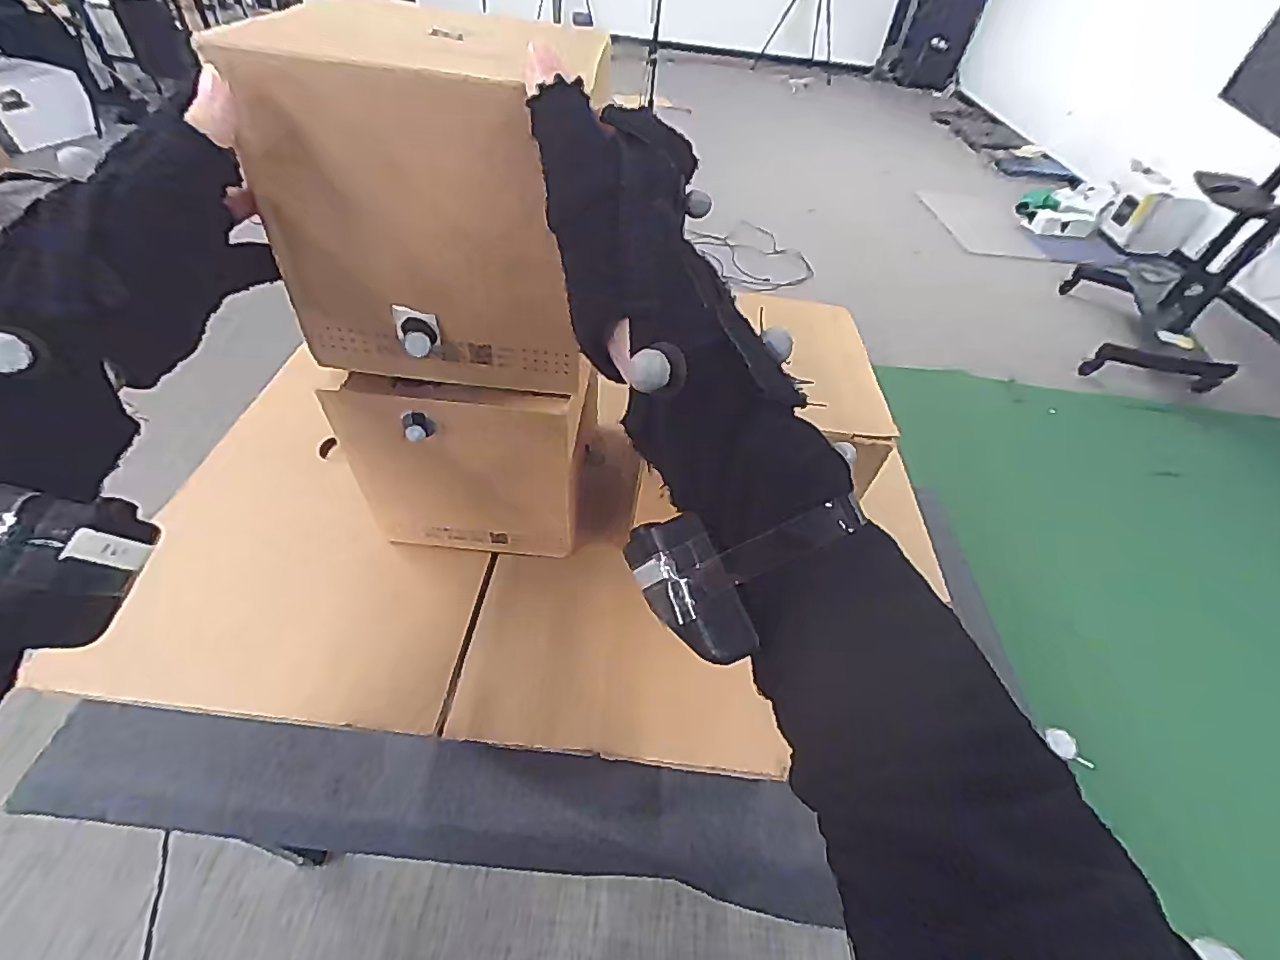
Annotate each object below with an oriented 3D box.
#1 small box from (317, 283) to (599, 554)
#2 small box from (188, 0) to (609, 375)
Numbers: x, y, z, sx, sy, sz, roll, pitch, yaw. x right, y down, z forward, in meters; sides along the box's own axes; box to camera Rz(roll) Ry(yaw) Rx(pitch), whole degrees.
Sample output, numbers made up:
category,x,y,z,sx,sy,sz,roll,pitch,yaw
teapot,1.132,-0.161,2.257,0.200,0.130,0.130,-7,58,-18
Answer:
category,x,y,z,sx,sy,sz,roll,pitch,yaw
small box,-0.130,-0.061,0.465,0.168,0.176,0.179,6,47,1
small box,-0.111,-0.190,0.337,0.168,0.176,0.179,4,48,-4
